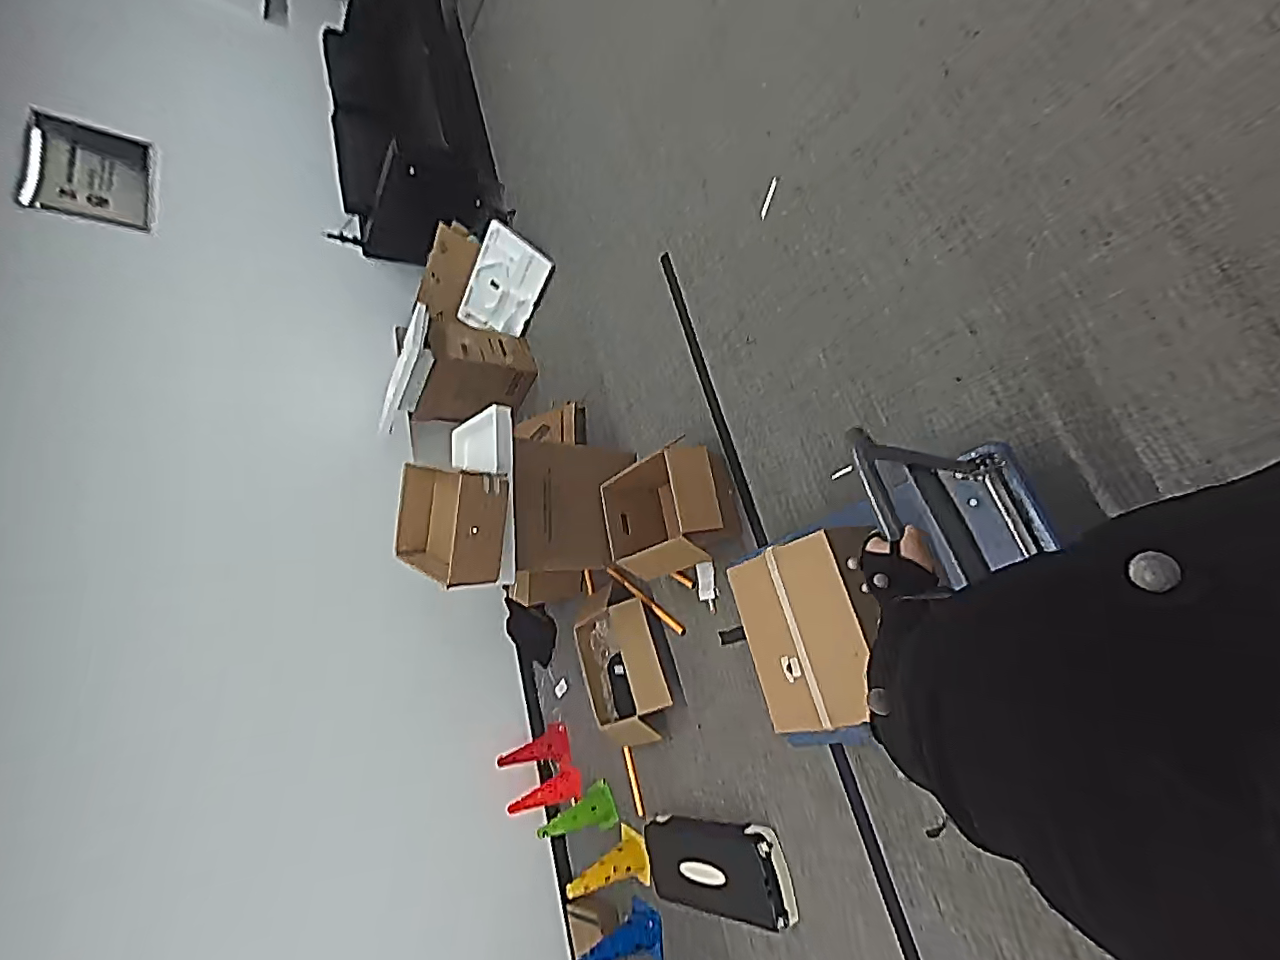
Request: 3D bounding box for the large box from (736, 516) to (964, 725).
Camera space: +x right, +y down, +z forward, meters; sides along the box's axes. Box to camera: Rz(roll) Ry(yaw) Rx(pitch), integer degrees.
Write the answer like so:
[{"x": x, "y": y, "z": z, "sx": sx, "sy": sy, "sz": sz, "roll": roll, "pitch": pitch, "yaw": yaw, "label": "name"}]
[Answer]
[{"x": 0.501, "y": 0.332, "z": 1.320, "sx": 0.320, "sy": 0.320, "sz": 0.408, "roll": -36, "pitch": 63, "yaw": 46, "label": "large box"}]
